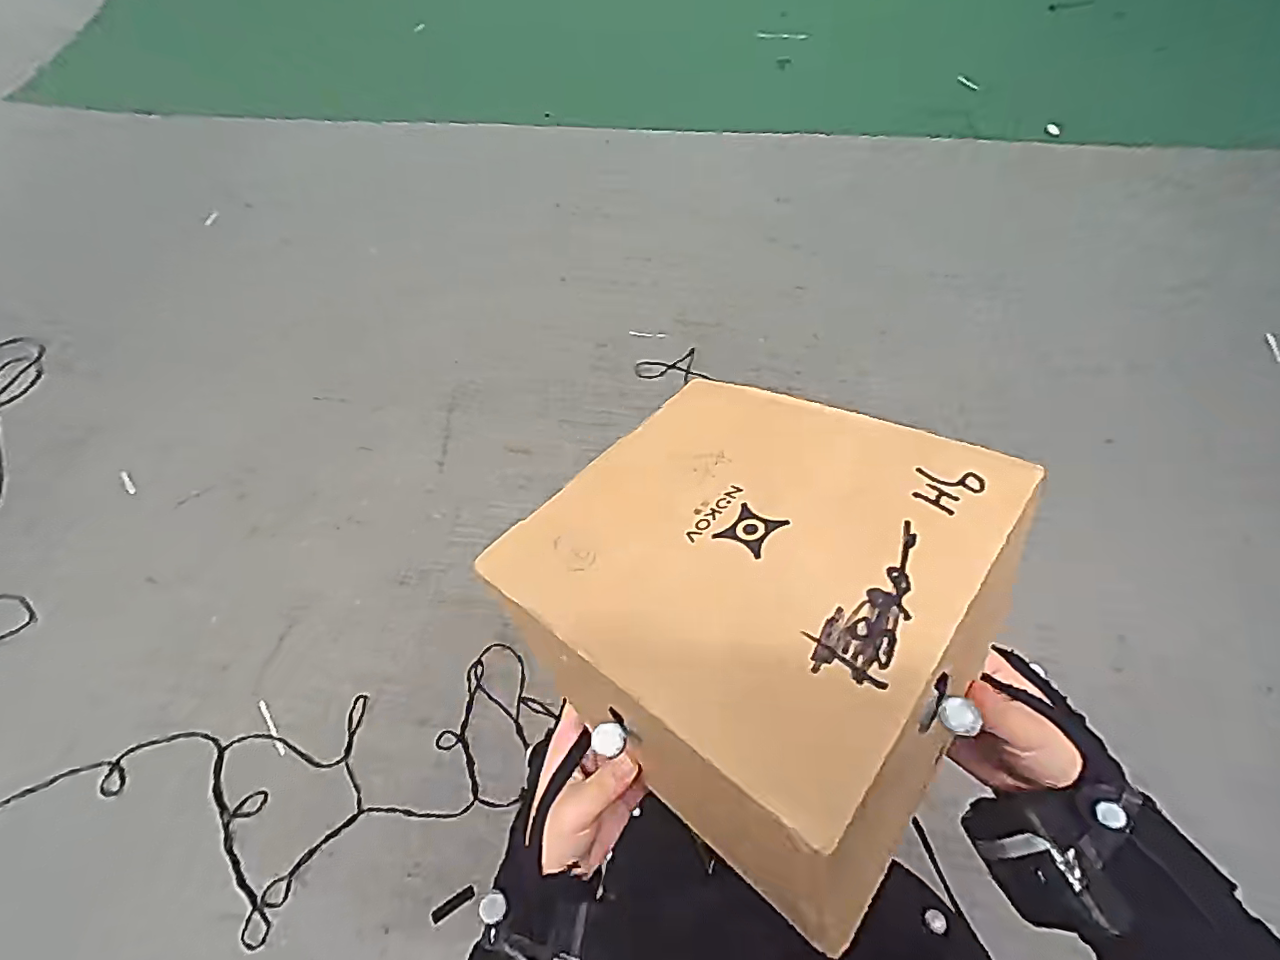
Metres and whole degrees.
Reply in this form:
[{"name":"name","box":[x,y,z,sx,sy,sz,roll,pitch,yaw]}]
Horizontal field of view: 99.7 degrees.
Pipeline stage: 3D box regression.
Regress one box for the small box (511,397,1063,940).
[{"name":"small box","box":[0.071,0.085,0.281,0.179,0.176,0.168,24,56,39]}]
